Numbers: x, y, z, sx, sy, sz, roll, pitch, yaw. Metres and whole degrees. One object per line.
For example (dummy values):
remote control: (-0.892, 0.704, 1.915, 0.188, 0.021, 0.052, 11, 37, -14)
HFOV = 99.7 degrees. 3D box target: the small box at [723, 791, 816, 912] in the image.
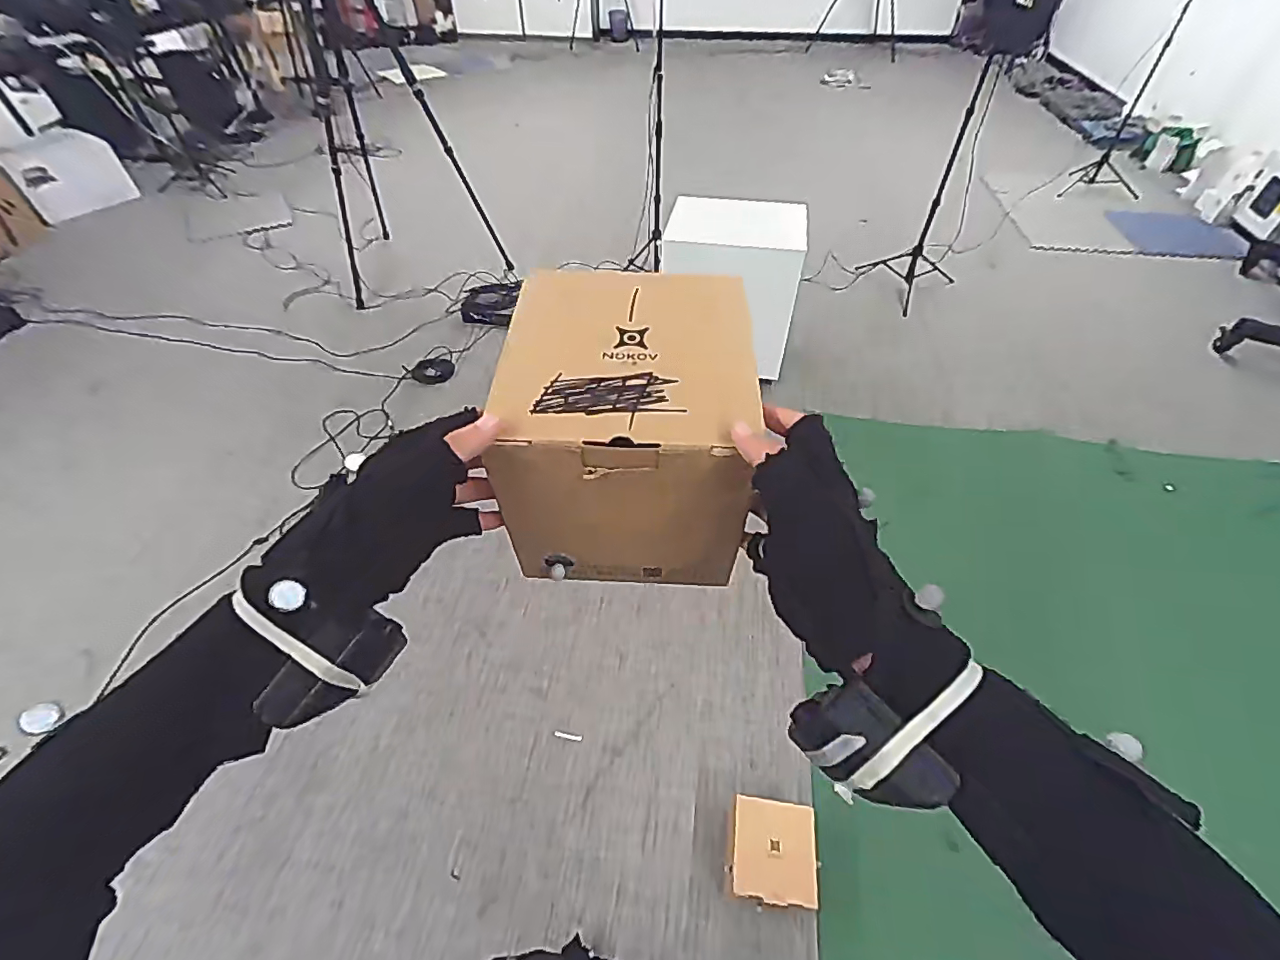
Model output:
small box: (0.270, 0.796, 1.158, 0.168, 0.176, 0.179, 6, 49, 6)
